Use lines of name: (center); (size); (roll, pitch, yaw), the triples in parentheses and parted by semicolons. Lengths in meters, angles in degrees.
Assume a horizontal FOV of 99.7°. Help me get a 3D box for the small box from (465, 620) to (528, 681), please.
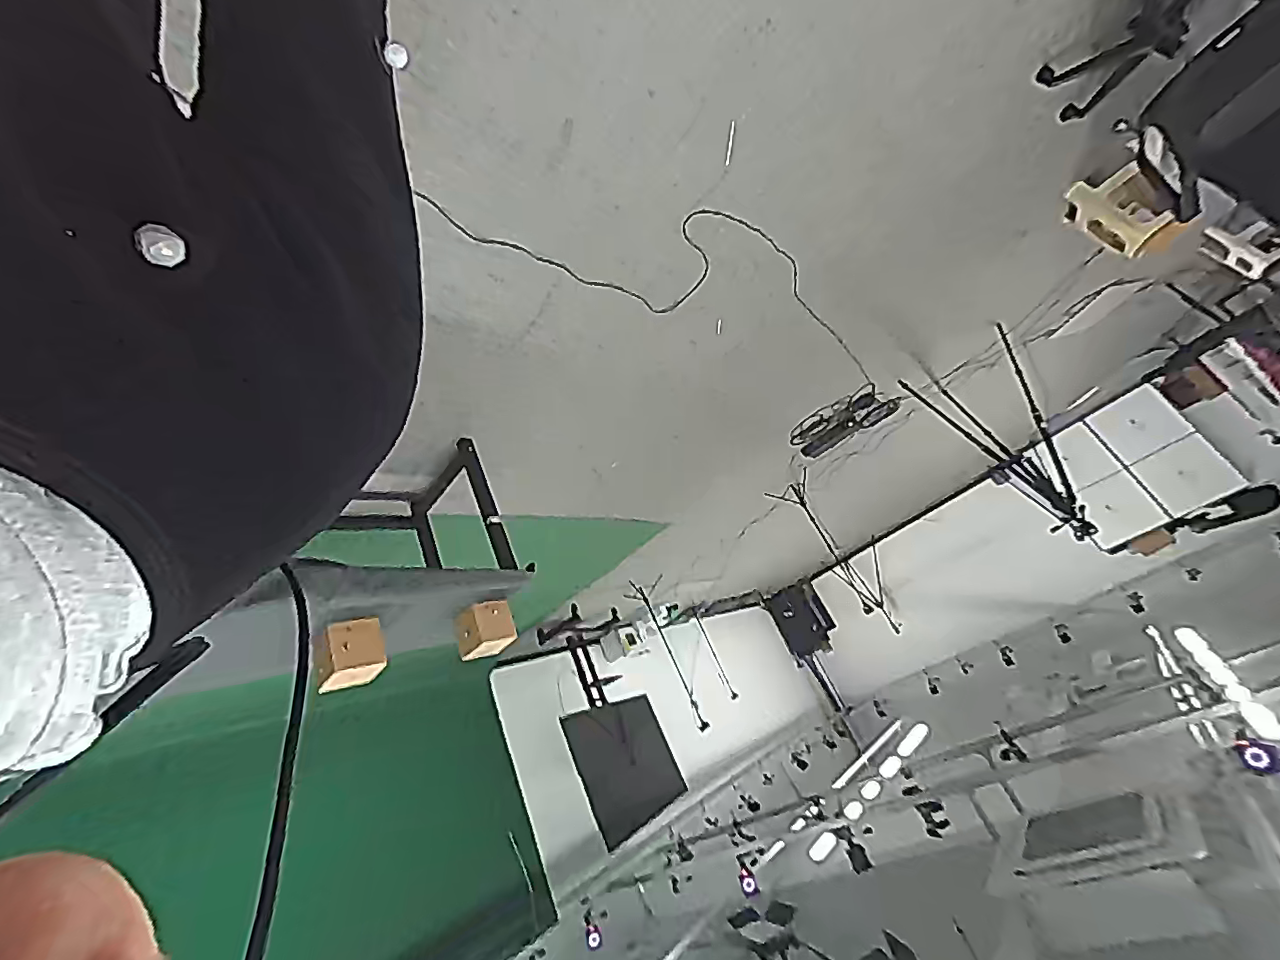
small box: (-0.588, 0.686, 2.188); (0.168, 0.176, 0.179); (5, 140, -48)

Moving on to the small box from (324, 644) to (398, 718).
small box: (-0.937, 0.661, 1.806); (0.168, 0.176, 0.179); (5, 141, -47)
